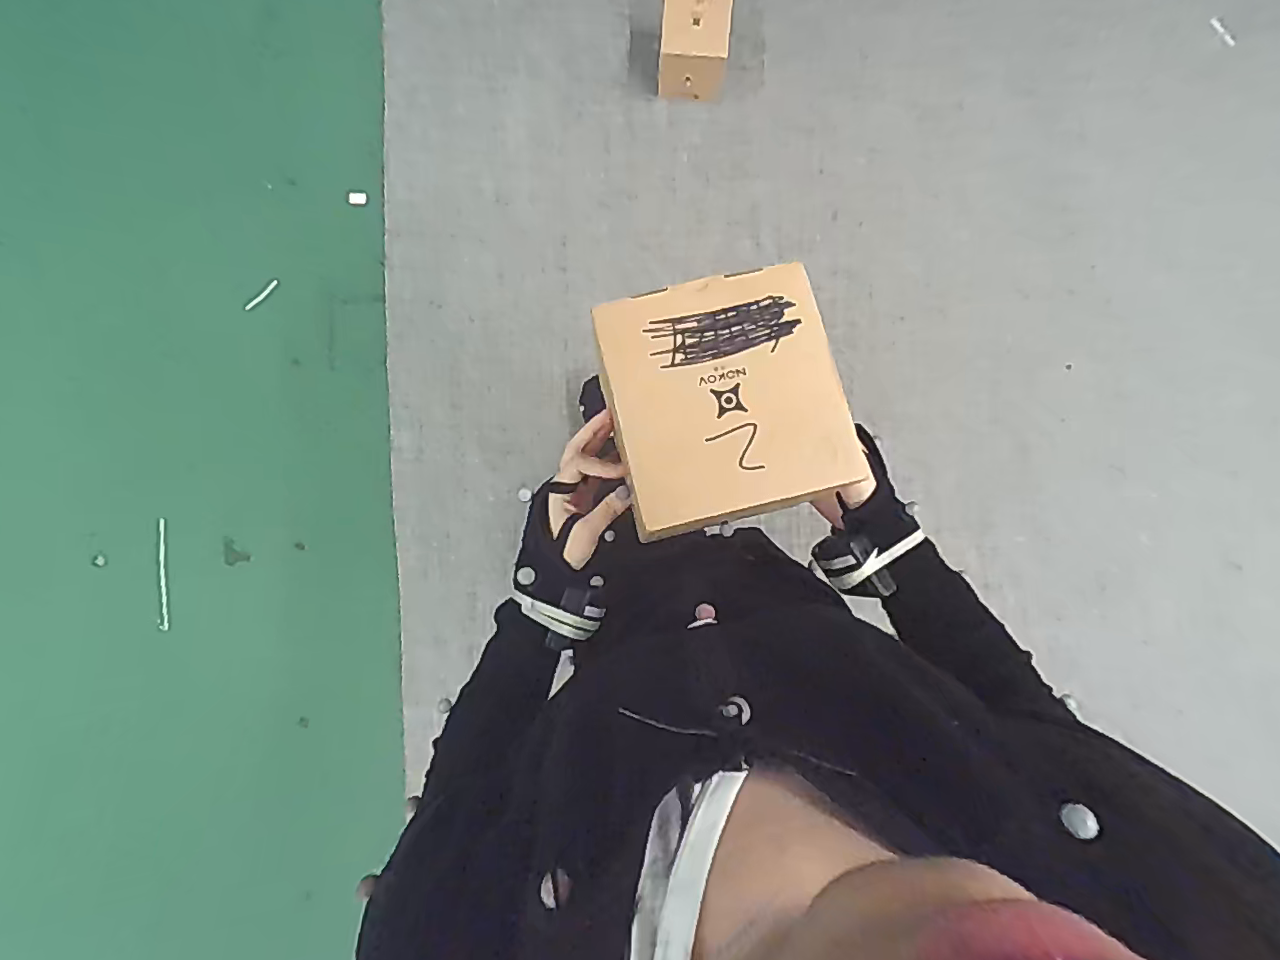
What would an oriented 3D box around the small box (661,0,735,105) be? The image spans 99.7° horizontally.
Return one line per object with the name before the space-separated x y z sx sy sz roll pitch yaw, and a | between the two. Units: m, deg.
small box | 0.143 -1.107 1.390 0.168 0.176 0.179 5 91 0
